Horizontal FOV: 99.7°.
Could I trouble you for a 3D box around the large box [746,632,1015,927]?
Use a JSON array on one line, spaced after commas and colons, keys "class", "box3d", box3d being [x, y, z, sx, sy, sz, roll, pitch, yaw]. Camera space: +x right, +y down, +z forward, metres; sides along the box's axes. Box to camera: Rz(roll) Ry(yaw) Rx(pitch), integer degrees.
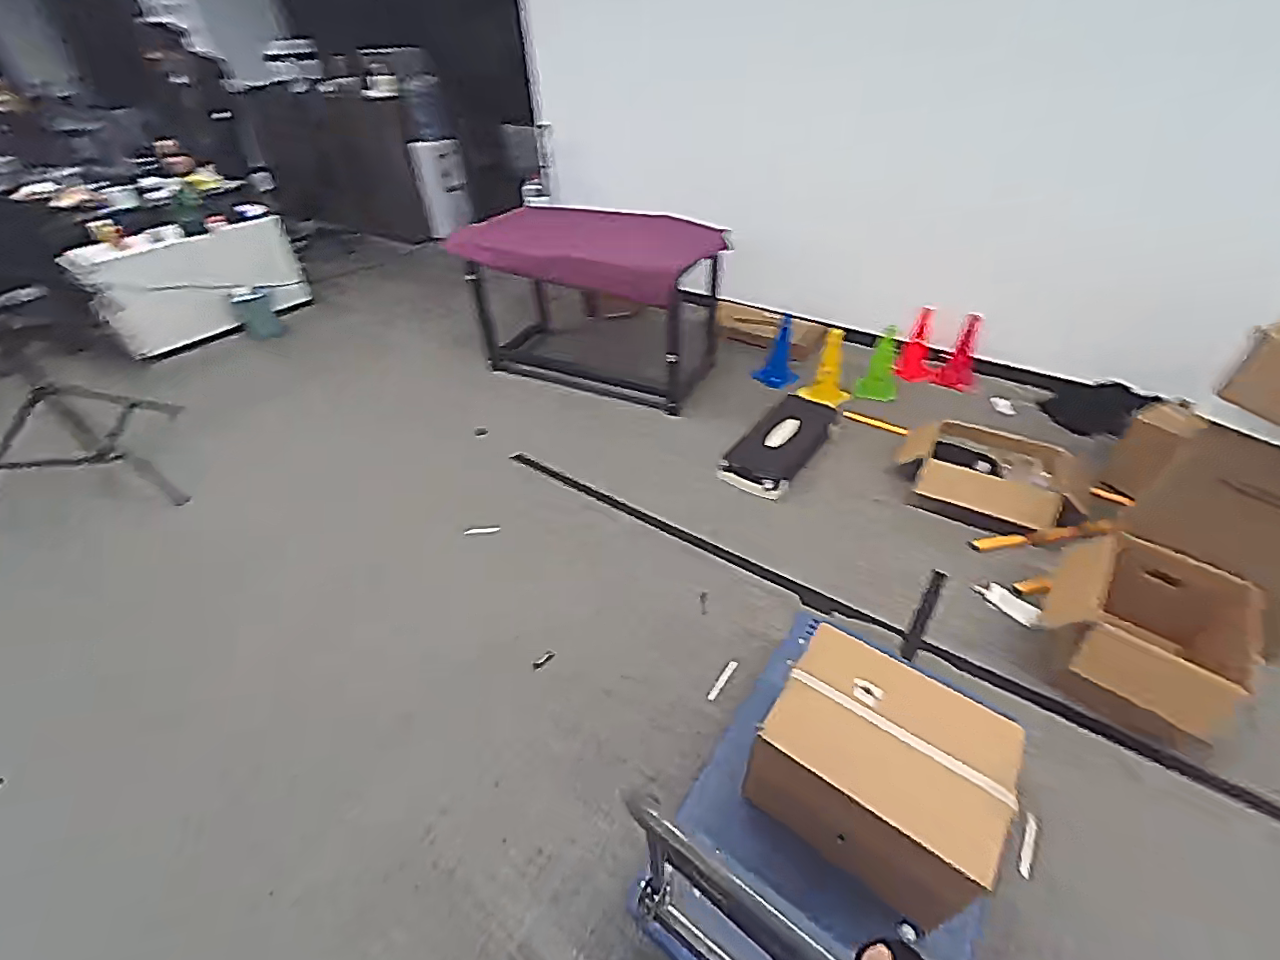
[{"class": "large box", "box3d": [0.479, 0.606, 1.130, 0.408, 0.320, 0.320, 24, 46, 29]}]
